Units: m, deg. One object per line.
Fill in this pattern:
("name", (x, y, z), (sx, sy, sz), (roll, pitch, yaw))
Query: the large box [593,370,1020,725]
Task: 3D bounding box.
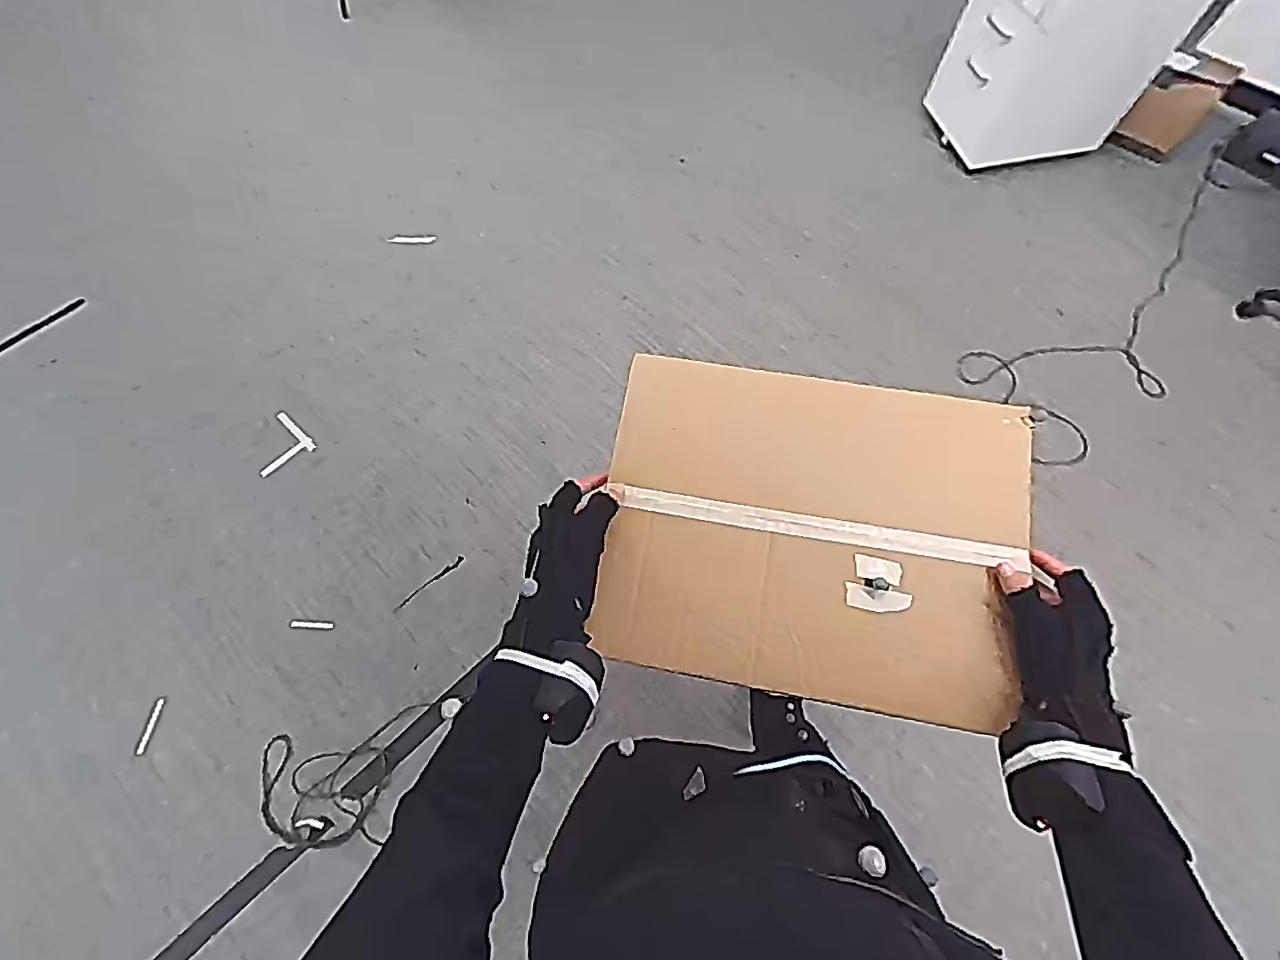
("large box", (0.178, 0.087, 0.688), (0.408, 0.320, 0.320), (9, 78, 6))
